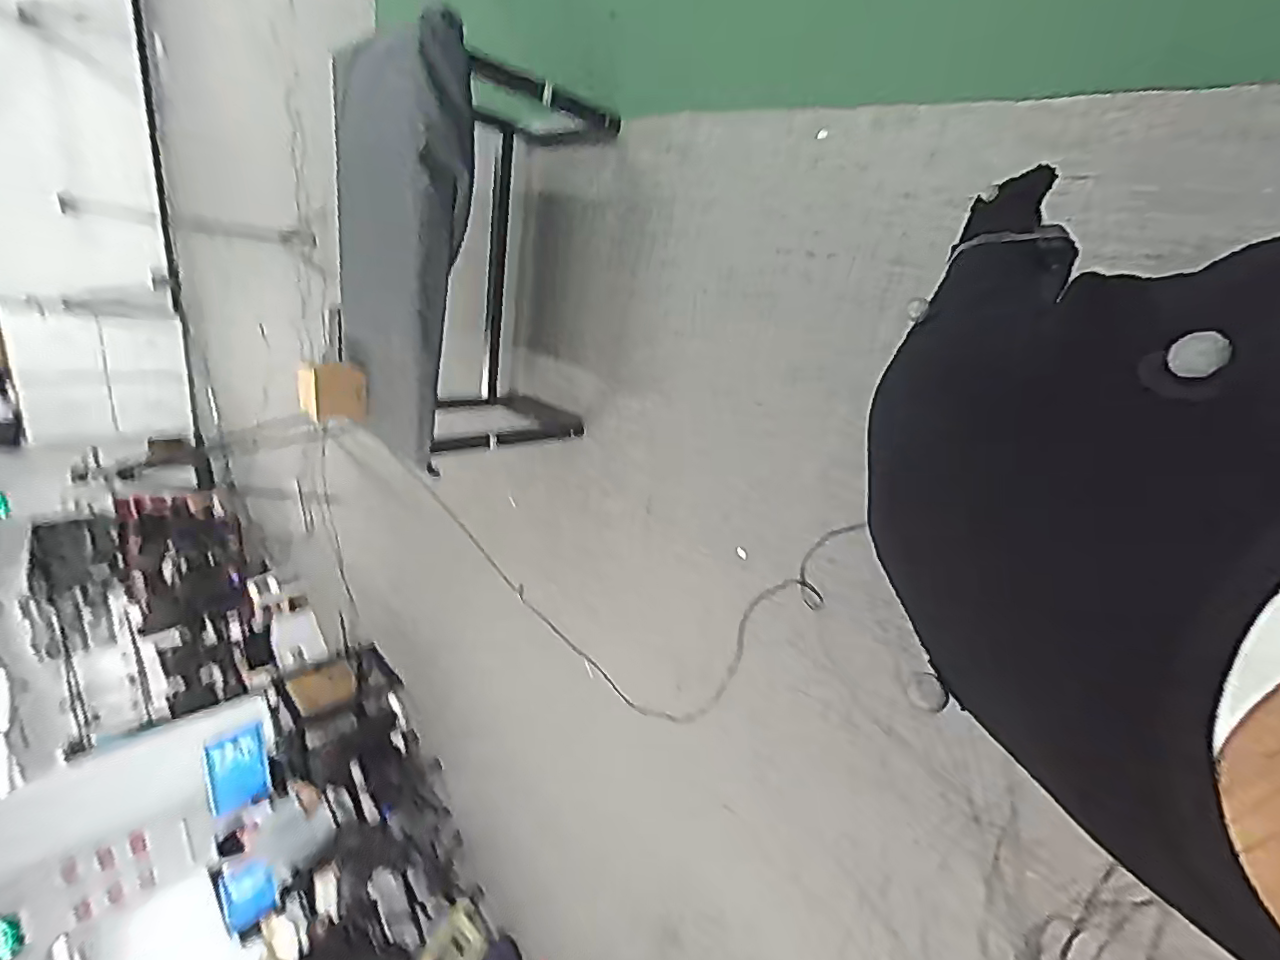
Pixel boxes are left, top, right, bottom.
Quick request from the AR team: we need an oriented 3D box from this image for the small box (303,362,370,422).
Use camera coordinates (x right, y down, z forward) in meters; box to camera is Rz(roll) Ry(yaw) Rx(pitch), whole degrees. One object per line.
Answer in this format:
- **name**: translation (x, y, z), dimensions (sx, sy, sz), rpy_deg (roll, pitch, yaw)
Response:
- **small box**: translation (-1.087, -0.319, 1.941), dimensions (0.168, 0.176, 0.179), rpy_deg (25, 114, 37)
